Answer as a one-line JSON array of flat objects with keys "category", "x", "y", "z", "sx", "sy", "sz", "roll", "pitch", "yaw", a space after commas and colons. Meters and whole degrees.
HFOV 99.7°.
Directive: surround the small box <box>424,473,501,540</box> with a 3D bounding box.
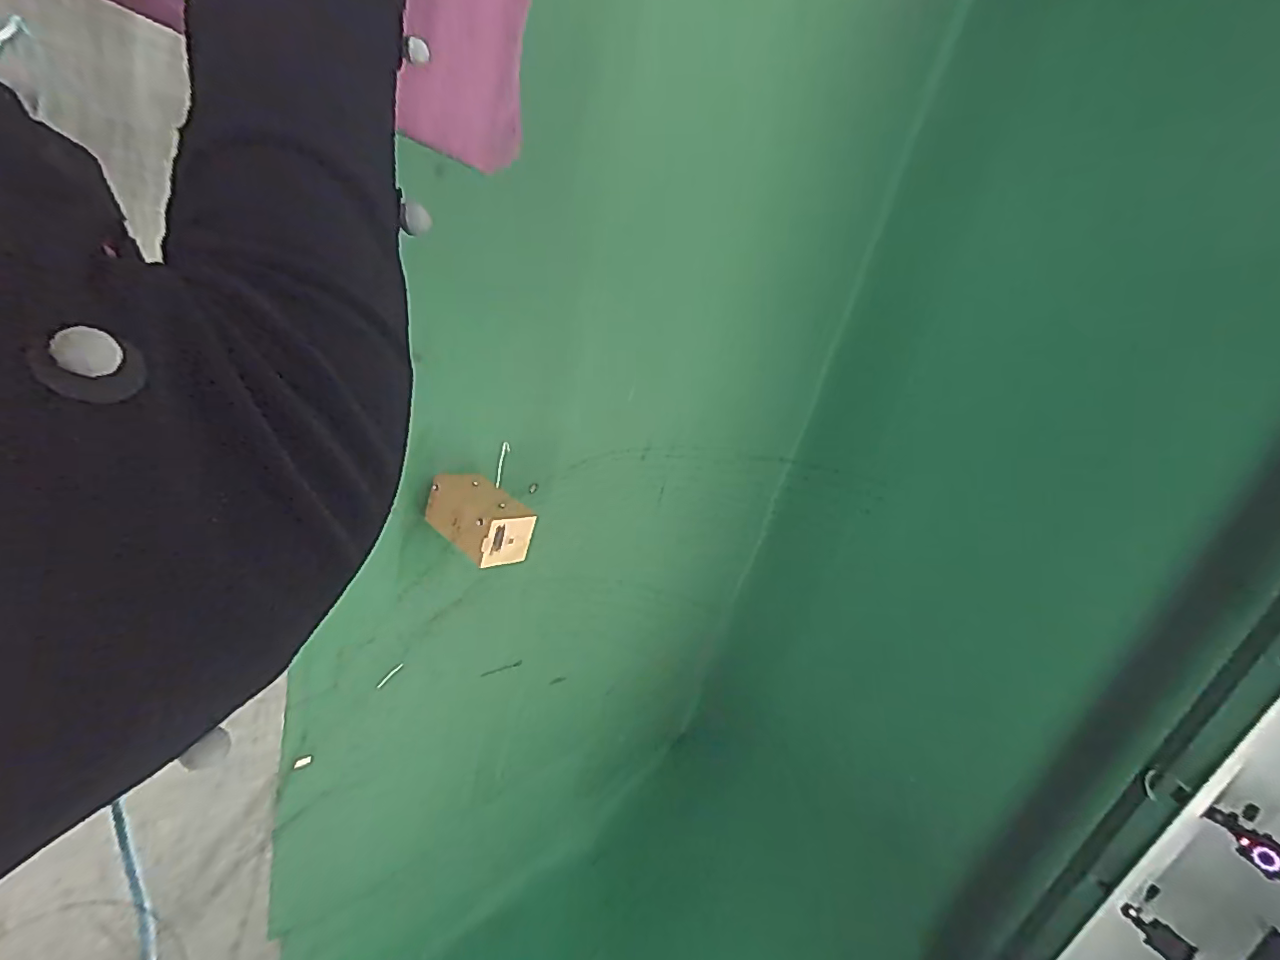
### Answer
[{"category": "small box", "x": -0.599, "y": 0.083, "z": 1.812, "sx": 0.179, "sy": 0.176, "sz": 0.168, "roll": -5, "pitch": 118, "yaw": -49}]
